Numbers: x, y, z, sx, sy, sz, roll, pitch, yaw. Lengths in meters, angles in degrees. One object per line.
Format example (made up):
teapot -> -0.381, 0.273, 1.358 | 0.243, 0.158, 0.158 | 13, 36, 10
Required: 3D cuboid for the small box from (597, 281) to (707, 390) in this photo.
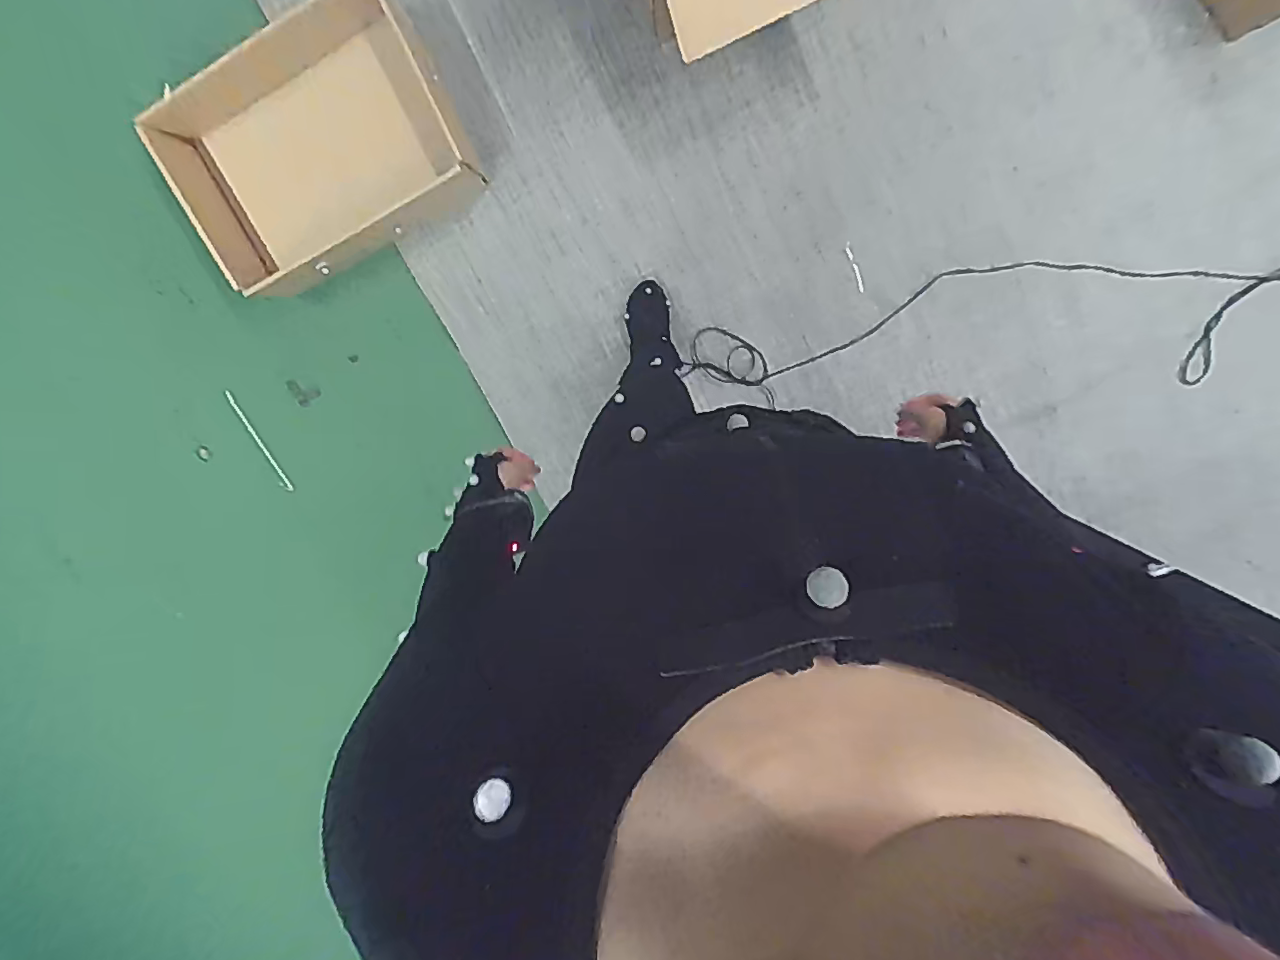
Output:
small box -> 0.036, -0.346, 1.294 | 0.179, 0.168, 0.176 | -50, 129, -7
